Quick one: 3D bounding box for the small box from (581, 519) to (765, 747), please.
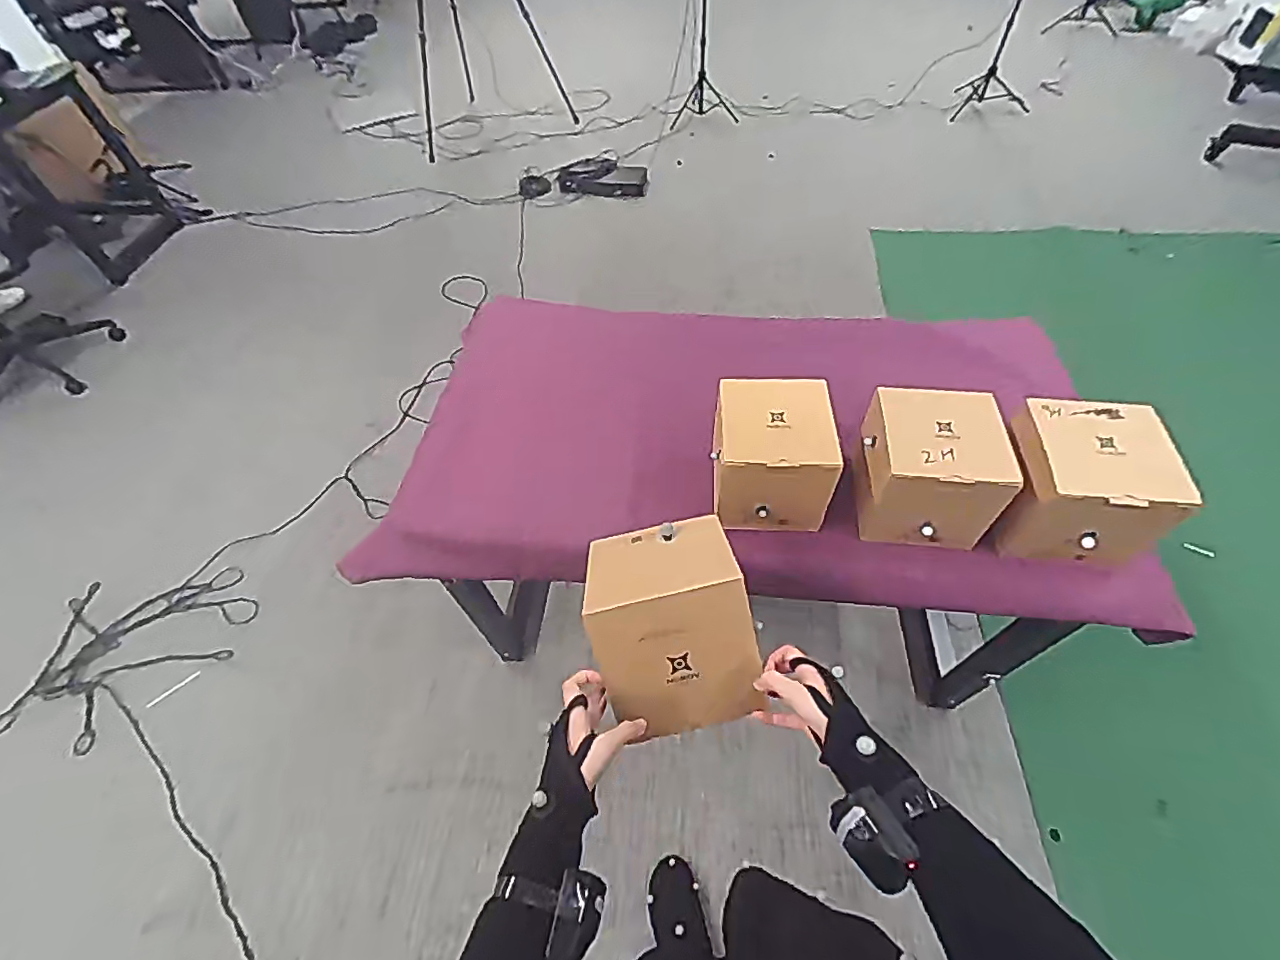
[{"bbox_3d":[0.037,0.168,0.629,0.168,0.179,0.176,-13,19,3],"label":"small box"}]
